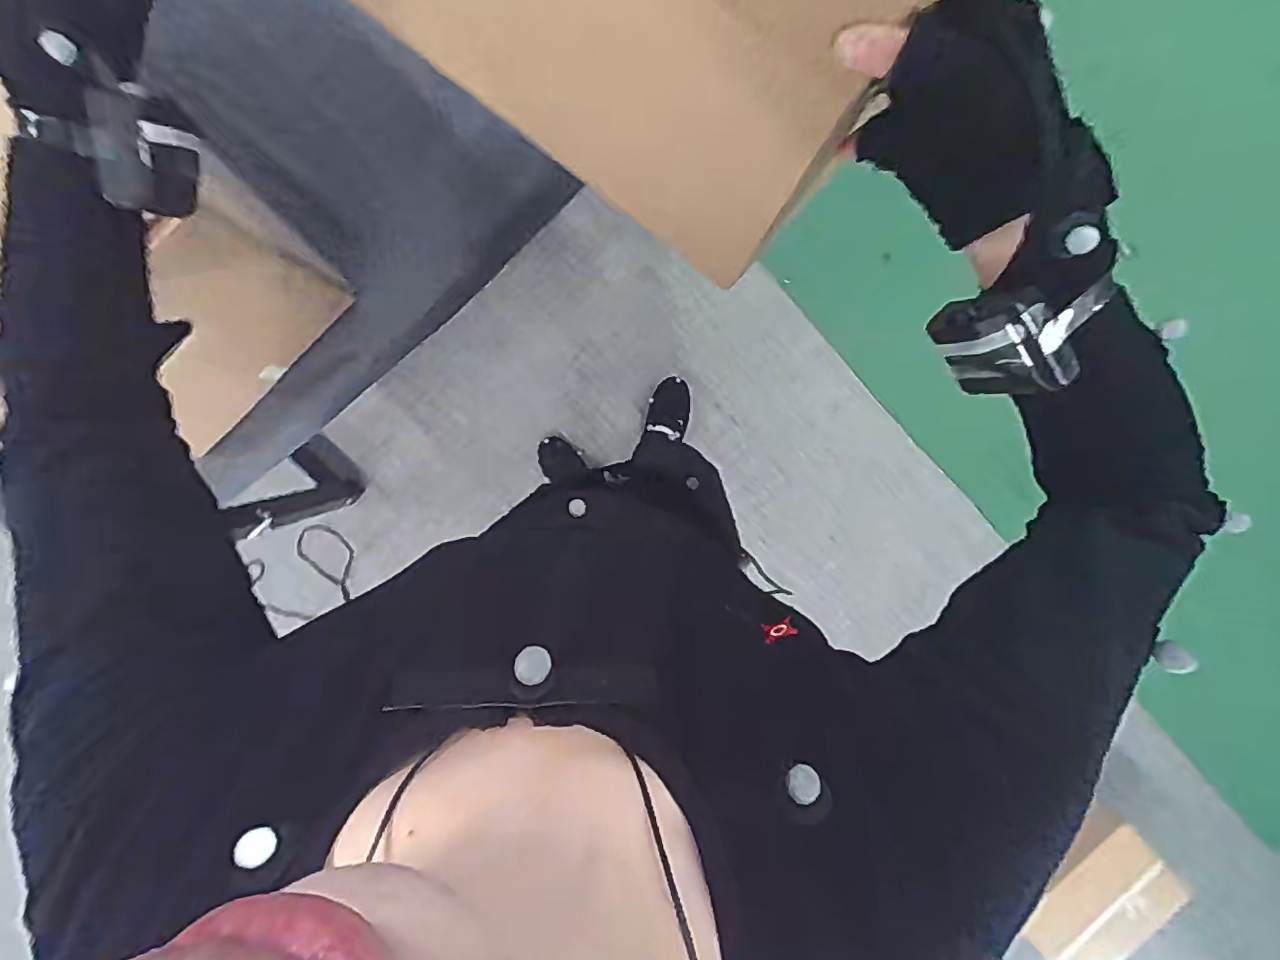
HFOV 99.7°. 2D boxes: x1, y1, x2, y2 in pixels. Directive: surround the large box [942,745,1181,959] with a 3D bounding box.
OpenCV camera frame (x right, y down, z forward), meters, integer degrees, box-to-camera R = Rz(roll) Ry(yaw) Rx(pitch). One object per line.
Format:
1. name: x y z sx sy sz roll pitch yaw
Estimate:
1. large box: 1.201 1.090 1.580 0.408 0.320 0.320 -44 98 -2
